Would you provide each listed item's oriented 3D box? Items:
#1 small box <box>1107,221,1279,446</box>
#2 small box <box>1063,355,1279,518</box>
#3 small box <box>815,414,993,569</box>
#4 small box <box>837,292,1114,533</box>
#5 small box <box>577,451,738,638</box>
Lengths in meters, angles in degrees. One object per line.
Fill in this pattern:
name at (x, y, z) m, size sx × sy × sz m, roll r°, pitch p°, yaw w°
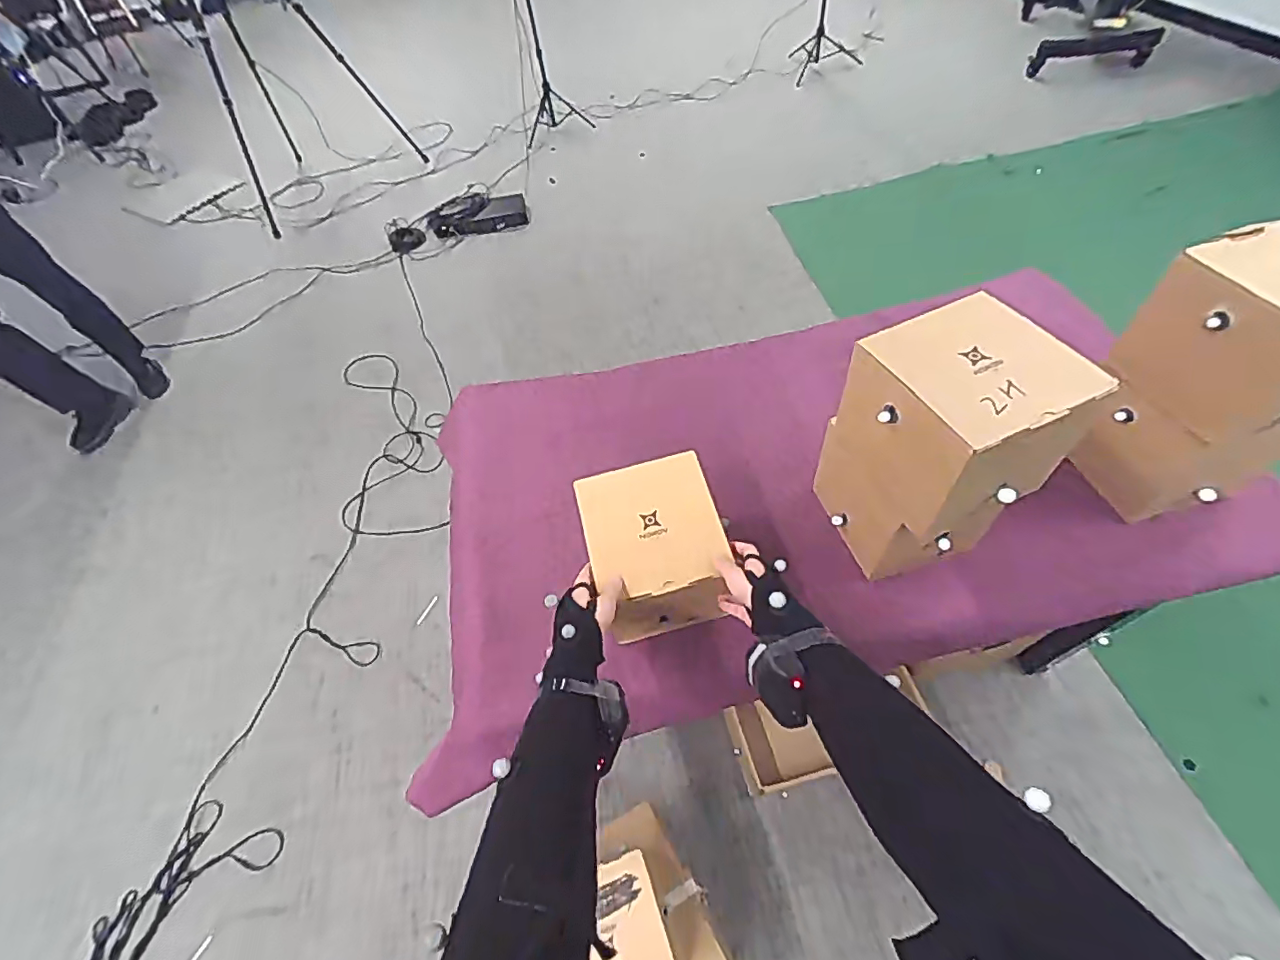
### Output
small box at (0.714, -0.170, 0.627) m, size 0.168 × 0.176 × 0.179 m, roll -17°, pitch 53°, yaw -3°
small box at (0.738, -0.074, 0.756) m, size 0.168 × 0.176 × 0.179 m, roll -14°, pitch 53°, yaw -2°
small box at (0.365, 0.005, 0.751) m, size 0.168 × 0.176 × 0.179 m, roll -17°, pitch 54°, yaw -5°
small box at (0.345, -0.072, 0.604) m, size 0.168 × 0.176 × 0.179 m, roll -22°, pitch 54°, yaw -8°
small box at (0.020, 0.091, 0.729) m, size 0.168 × 0.176 × 0.179 m, roll -15°, pitch 60°, yaw -3°
